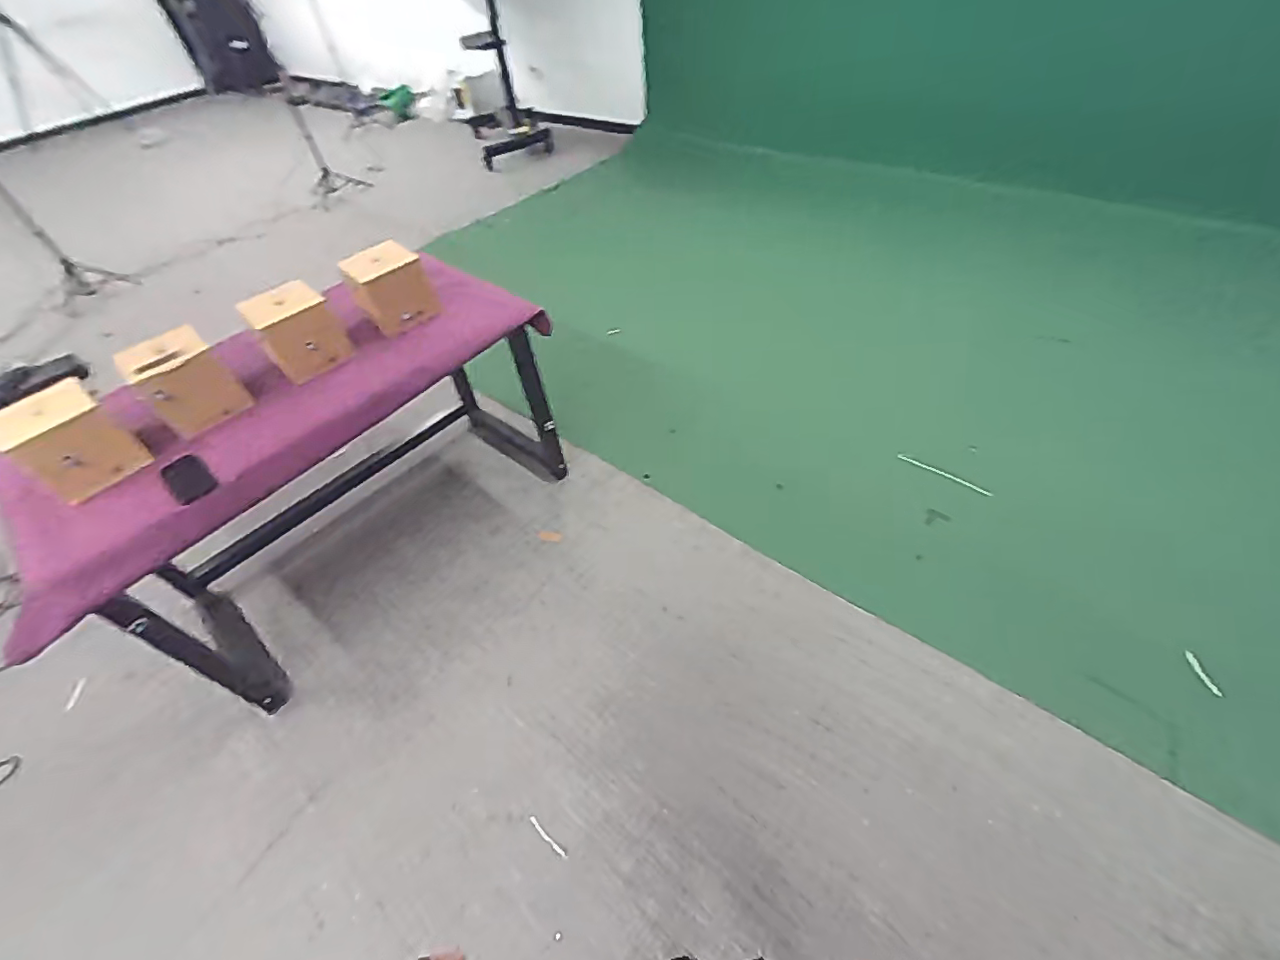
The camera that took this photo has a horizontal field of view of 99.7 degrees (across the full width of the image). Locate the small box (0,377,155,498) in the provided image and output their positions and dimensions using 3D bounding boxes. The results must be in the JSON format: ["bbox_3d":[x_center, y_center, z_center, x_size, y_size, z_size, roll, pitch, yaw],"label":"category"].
[{"bbox_3d":[-1.204,-0.086,1.159,0.179,0.176,0.168,29,57,29],"label":"small box"}]

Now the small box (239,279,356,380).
[{"bbox_3d":[-0.864,-0.380,1.380,0.168,0.176,0.179,-38,54,-25],"label":"small box"}]

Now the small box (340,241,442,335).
[{"bbox_3d":[-0.681,-0.528,1.492,0.168,0.176,0.179,-38,54,-23],"label":"small box"}]
